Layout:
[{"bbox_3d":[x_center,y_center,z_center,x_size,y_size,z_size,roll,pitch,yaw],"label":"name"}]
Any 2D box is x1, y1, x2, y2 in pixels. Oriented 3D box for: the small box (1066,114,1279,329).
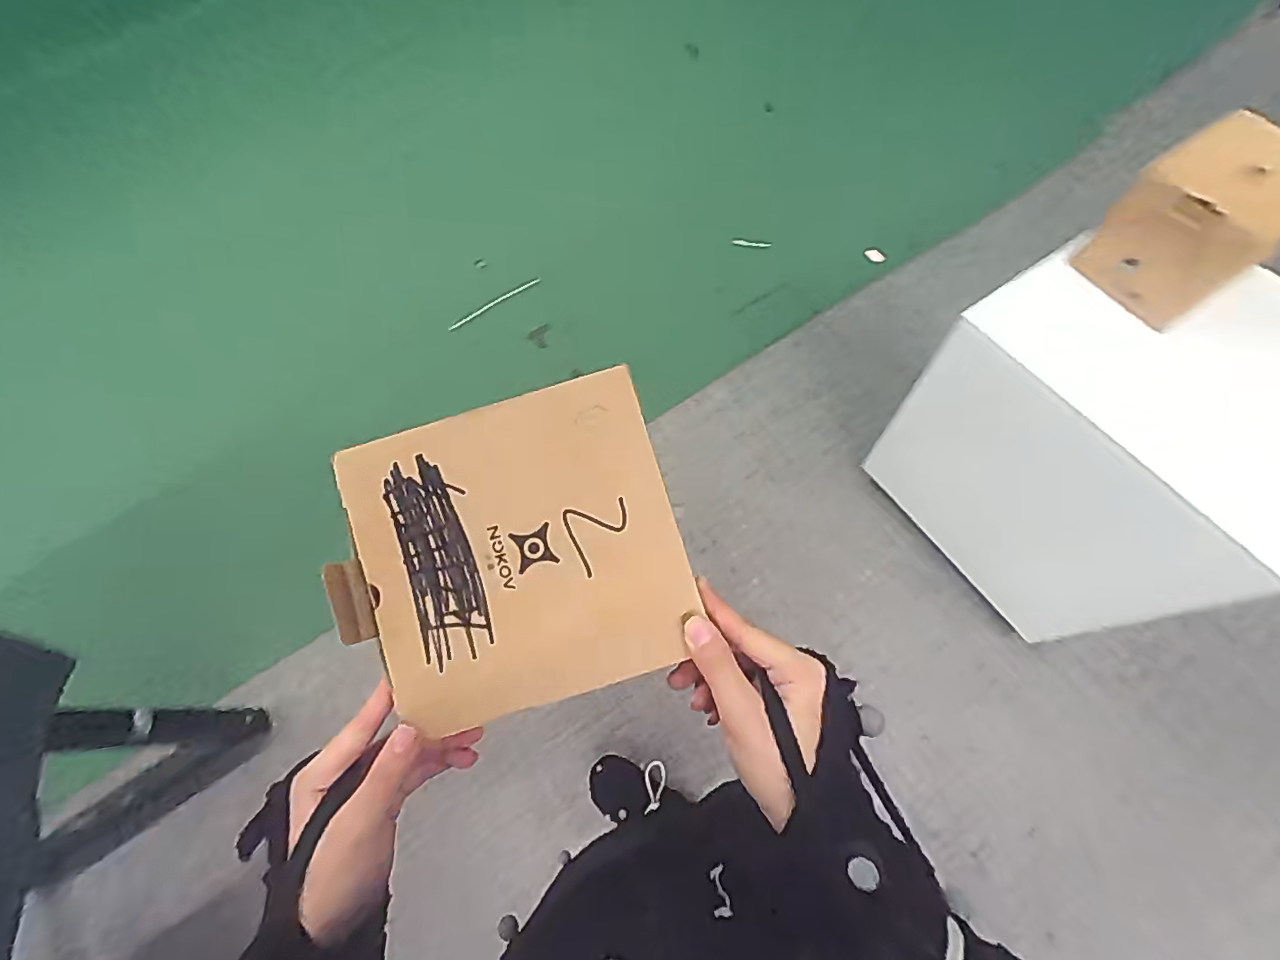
[{"bbox_3d":[0.758,-0.349,0.749,0.179,0.176,0.168,-33,68,-7],"label":"small box"}]
